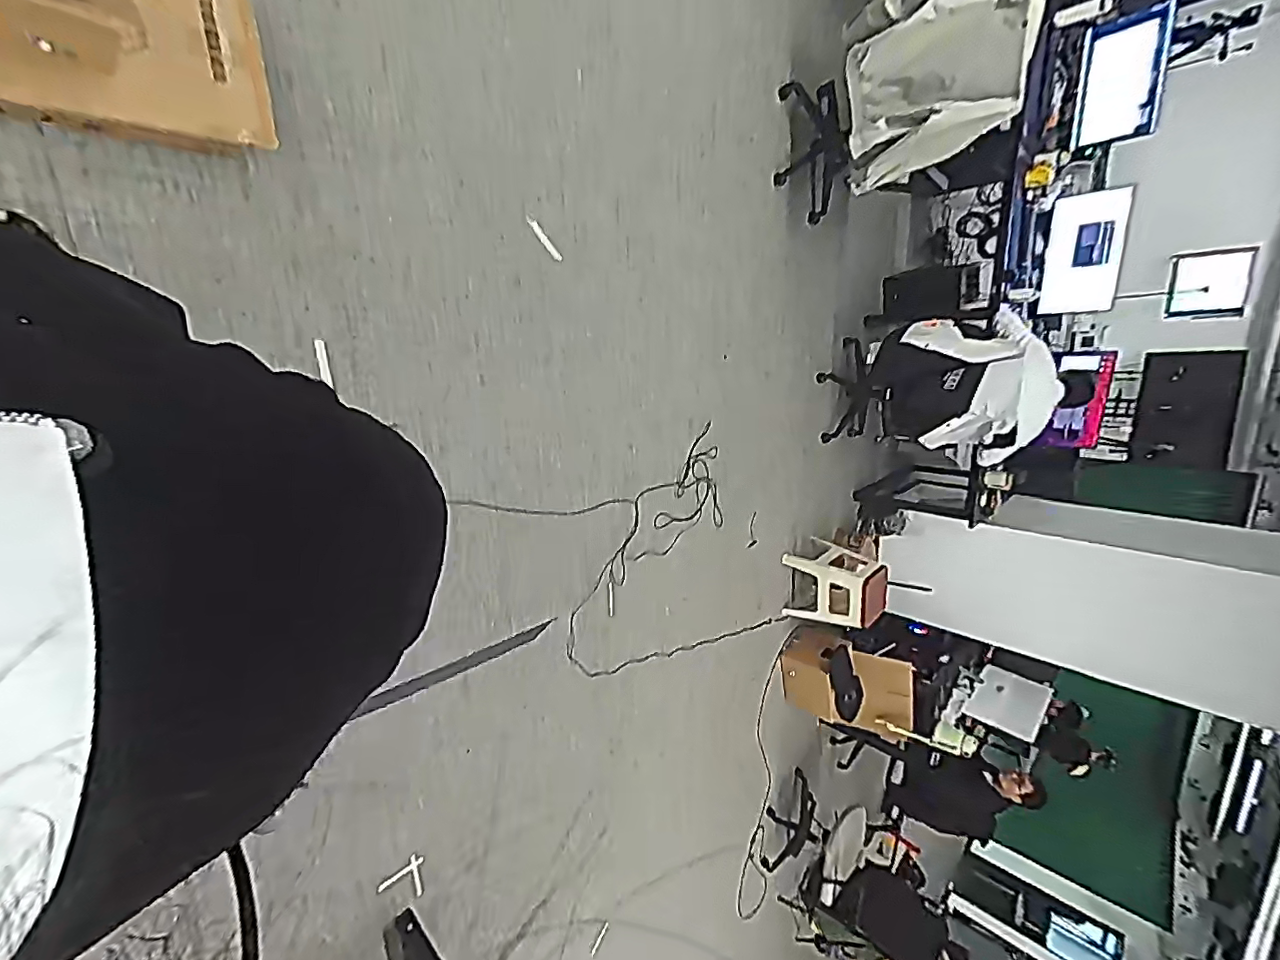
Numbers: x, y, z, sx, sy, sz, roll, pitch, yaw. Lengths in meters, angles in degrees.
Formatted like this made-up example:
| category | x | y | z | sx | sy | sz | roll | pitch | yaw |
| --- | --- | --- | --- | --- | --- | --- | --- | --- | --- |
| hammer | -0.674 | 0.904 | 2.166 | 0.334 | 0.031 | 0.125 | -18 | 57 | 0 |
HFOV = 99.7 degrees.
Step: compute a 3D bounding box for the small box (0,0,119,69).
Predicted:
| category | x | y | z | sx | sy | sz | roll | pitch | yaw |
| --- | --- | --- | --- | --- | --- | --- | --- | --- | --- |
| small box | -0.918 | -0.776 | 0.817 | 0.168 | 0.176 | 0.179 | -10 | 106 | -44 |
